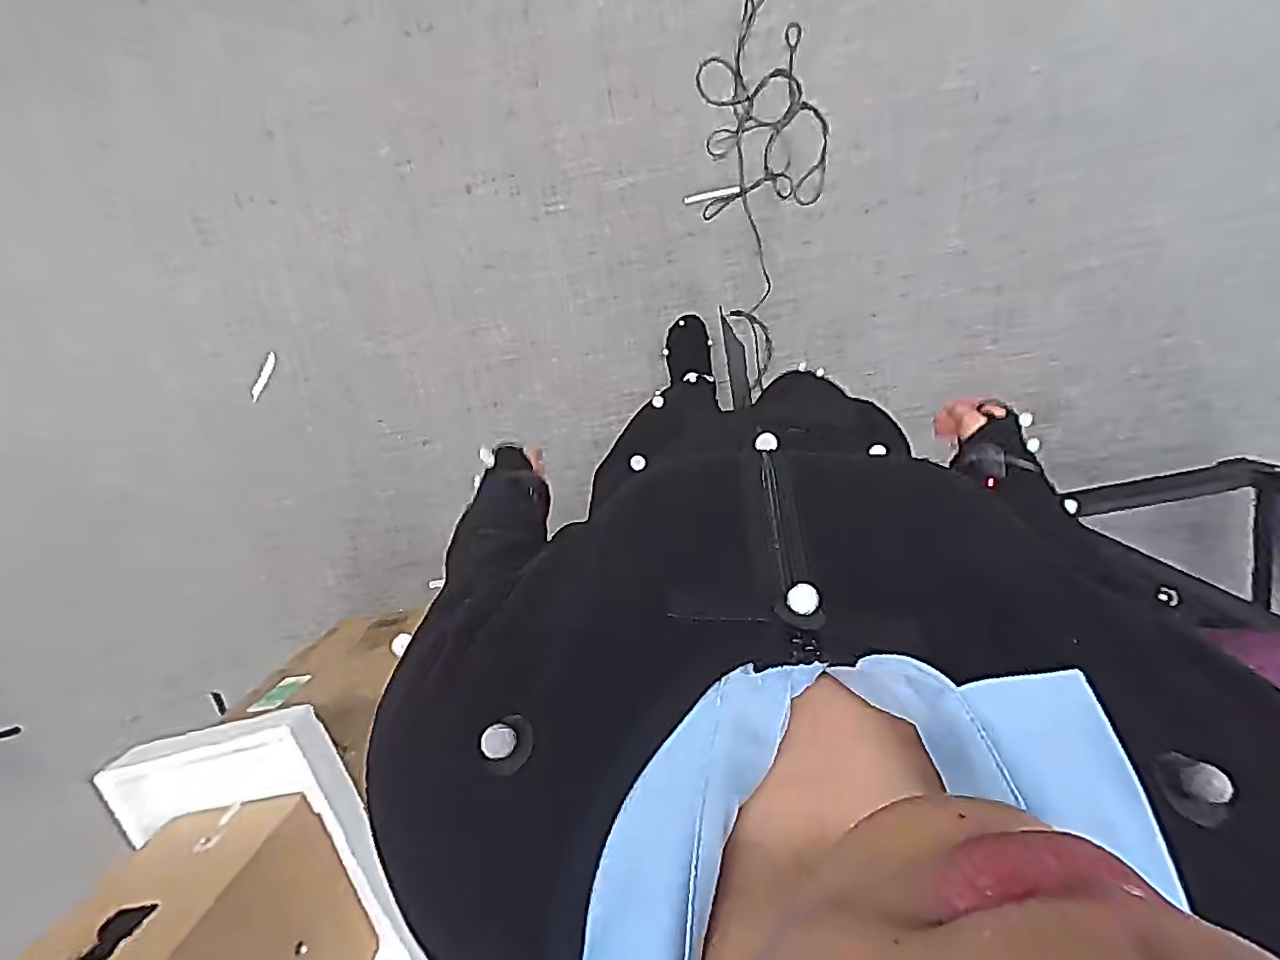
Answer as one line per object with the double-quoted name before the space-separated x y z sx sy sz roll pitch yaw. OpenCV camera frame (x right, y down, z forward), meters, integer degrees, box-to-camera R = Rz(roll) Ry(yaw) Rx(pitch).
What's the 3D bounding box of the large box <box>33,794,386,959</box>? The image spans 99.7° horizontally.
"large box" -0.727 0.851 0.947 0.320 0.320 0.408 -14 104 9
